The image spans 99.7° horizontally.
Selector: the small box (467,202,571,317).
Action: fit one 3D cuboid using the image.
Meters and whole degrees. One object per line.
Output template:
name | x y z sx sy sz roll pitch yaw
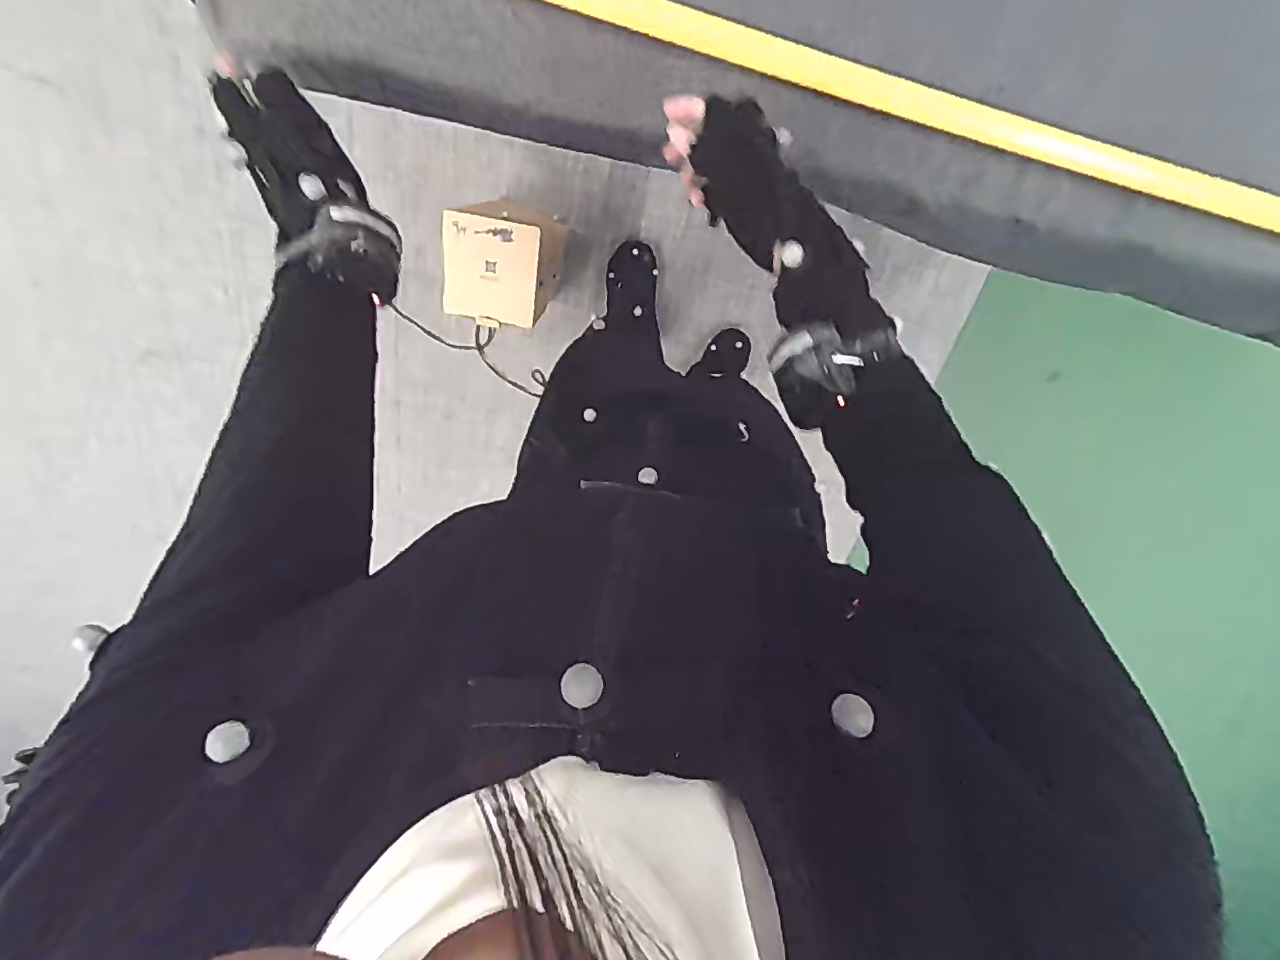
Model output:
small box | -0.253 -0.479 1.163 0.168 0.176 0.179 18 119 -9
